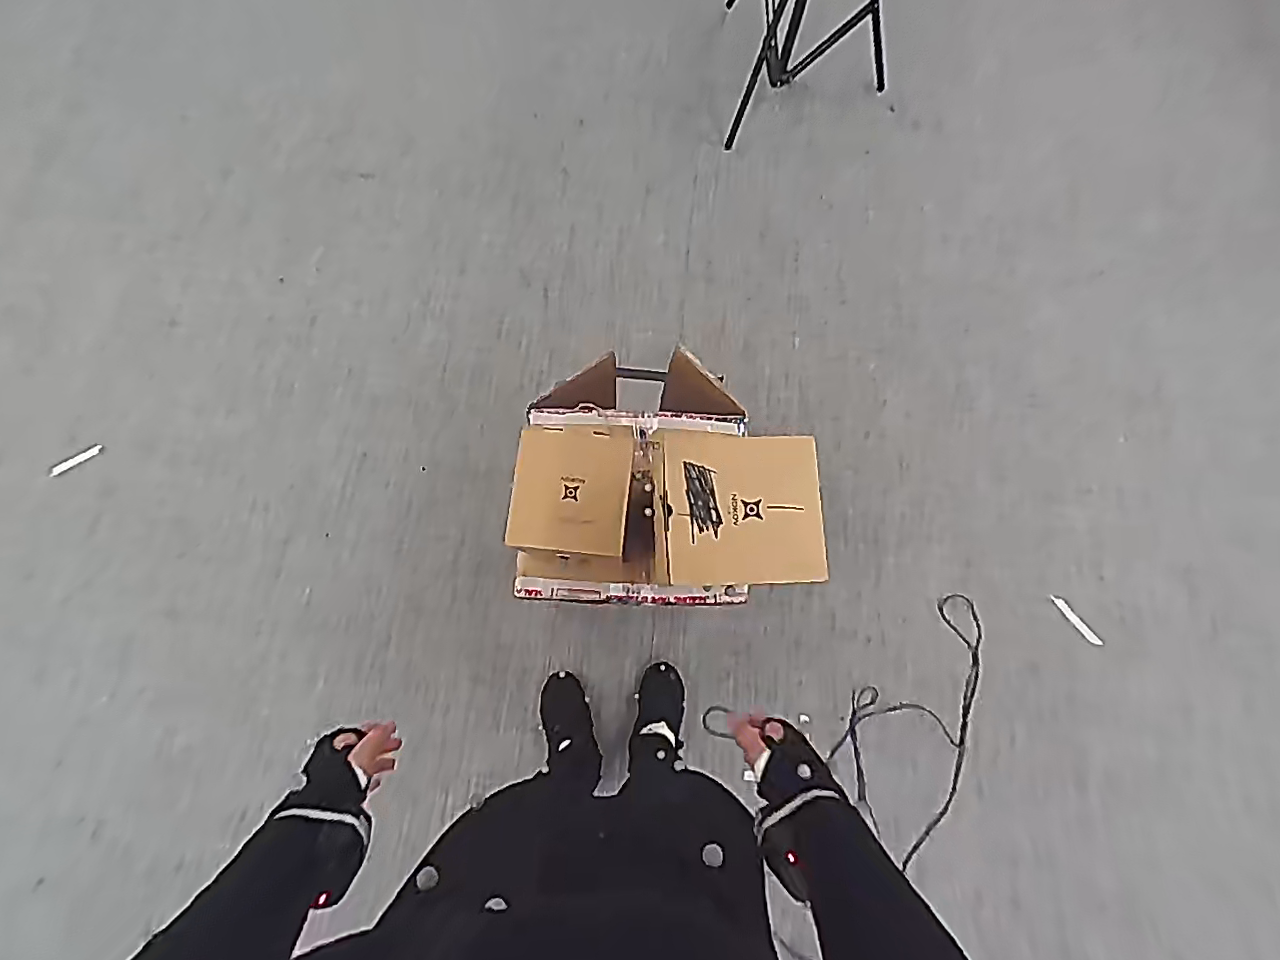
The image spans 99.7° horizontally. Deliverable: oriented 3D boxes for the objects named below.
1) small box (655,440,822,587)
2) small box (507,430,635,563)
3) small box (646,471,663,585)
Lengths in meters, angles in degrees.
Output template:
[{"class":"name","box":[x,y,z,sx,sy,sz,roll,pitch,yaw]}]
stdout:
[{"class":"small box","box":[0.109,0.050,0.682,0.179,0.176,0.168,-1,79,-3]},{"class":"small box","box":[-0.098,0.034,0.847,0.168,0.176,0.179,5,80,1]},{"class":"small box","box":[0.104,0.077,0.847,0.179,0.176,0.168,-2,79,-2]}]
